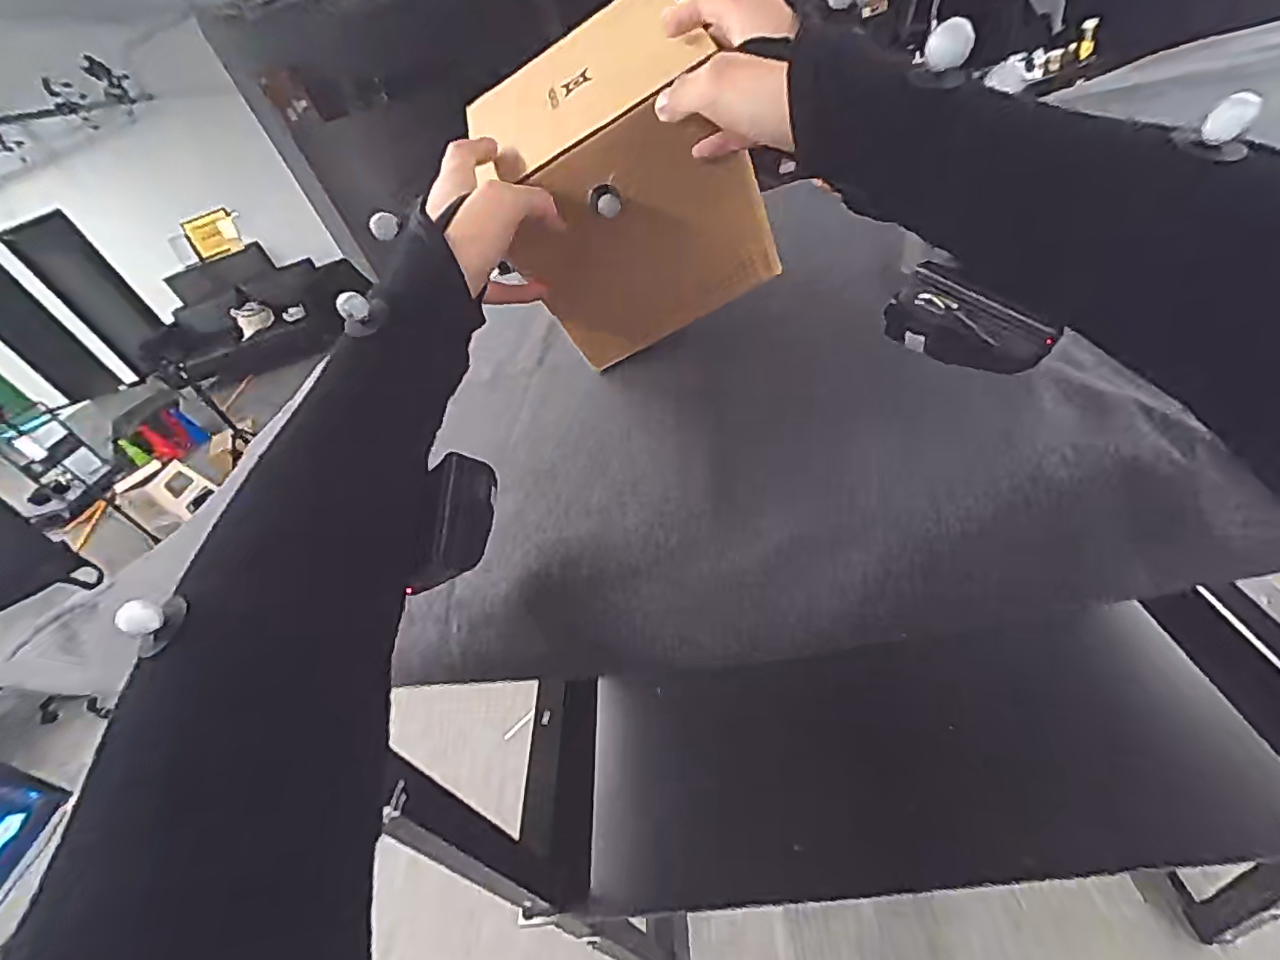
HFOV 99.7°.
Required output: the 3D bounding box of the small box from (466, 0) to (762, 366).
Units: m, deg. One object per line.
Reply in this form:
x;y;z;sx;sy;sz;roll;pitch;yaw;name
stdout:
-0.014;-0.228;0.435;0.179;0.176;0.168;-25;54;15;small box
